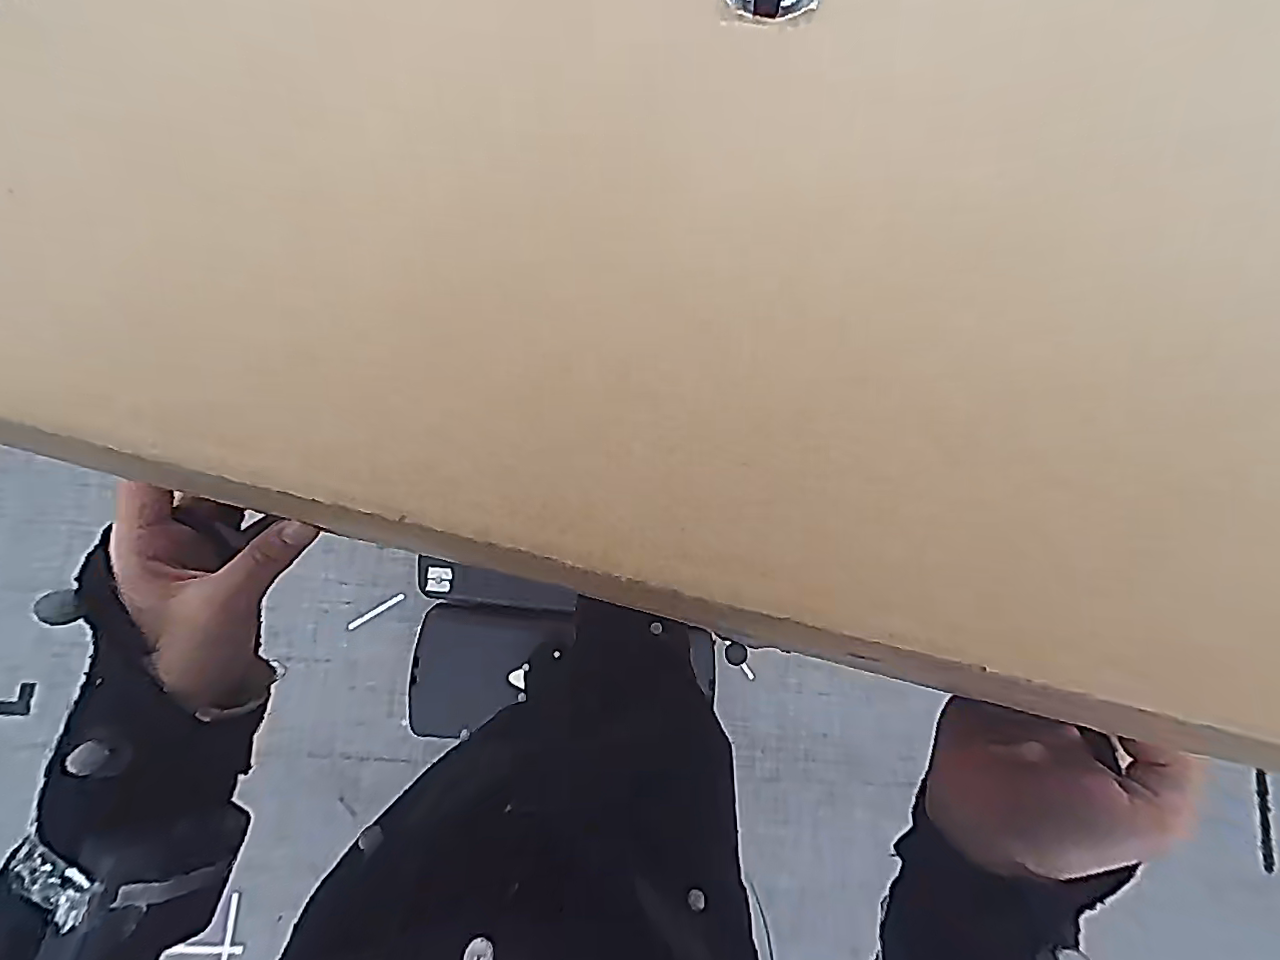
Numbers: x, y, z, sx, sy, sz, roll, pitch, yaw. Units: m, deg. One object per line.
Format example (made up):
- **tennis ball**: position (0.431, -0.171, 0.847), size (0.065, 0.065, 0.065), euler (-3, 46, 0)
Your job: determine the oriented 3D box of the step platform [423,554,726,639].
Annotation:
- **step platform**: position (-0.117, 0.154, 1.215), size (0.684, 0.204, 0.286), euler (12, 82, -4)
